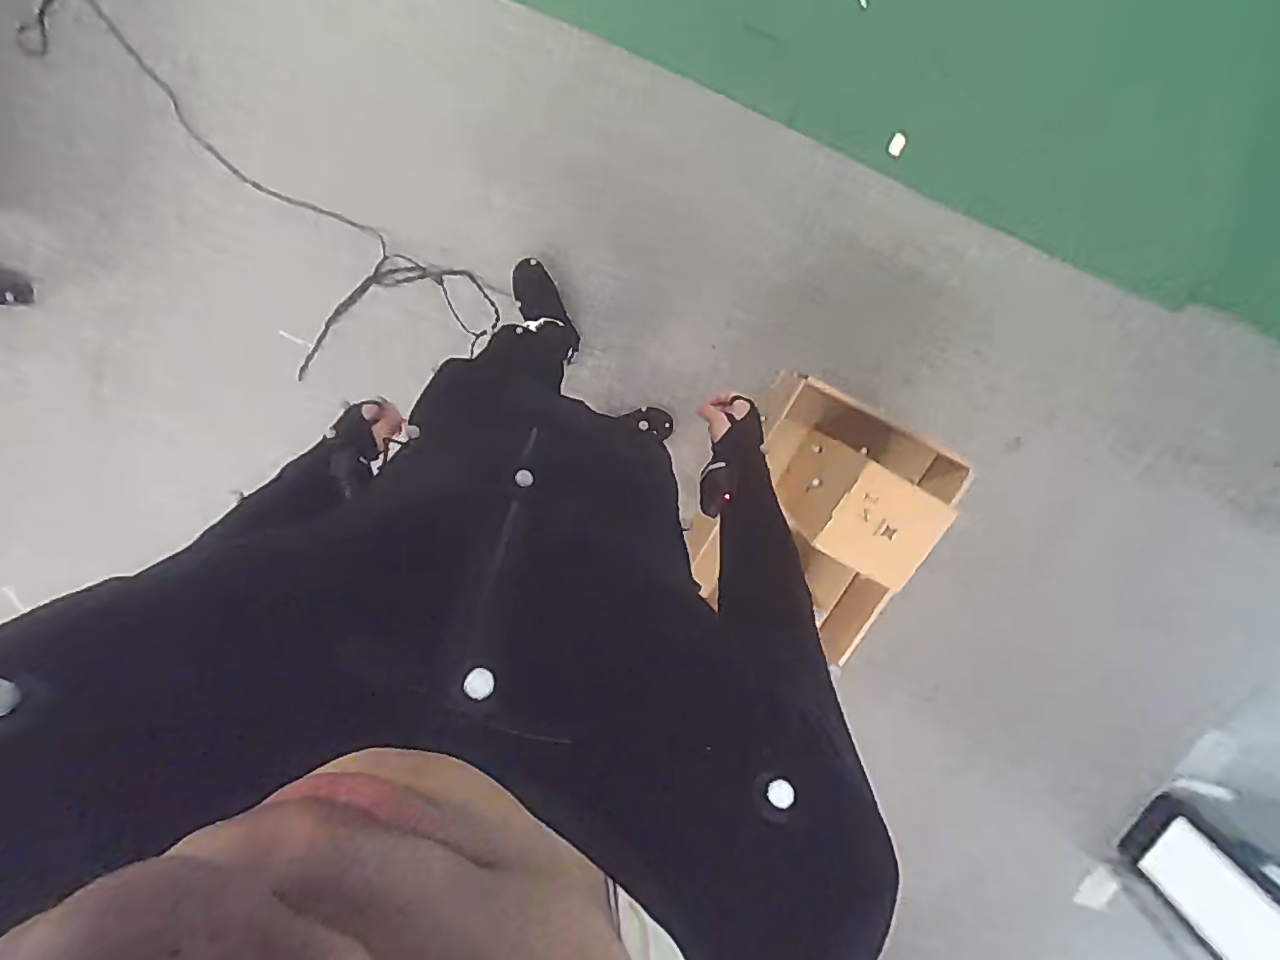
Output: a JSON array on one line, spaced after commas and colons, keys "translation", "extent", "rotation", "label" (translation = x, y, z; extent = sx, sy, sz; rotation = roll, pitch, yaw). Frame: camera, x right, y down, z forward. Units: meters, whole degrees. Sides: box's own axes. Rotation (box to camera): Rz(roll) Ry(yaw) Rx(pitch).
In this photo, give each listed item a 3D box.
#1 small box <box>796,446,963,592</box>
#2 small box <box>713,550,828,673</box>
[{"translation": [0.401, 0.058, 0.942], "extent": [0.179, 0.176, 0.168], "rotation": [29, 105, -5], "label": "small box"}, {"translation": [0.275, 0.277, 1.183], "extent": [0.179, 0.176, 0.168], "rotation": [27, 106, -4], "label": "small box"}]
